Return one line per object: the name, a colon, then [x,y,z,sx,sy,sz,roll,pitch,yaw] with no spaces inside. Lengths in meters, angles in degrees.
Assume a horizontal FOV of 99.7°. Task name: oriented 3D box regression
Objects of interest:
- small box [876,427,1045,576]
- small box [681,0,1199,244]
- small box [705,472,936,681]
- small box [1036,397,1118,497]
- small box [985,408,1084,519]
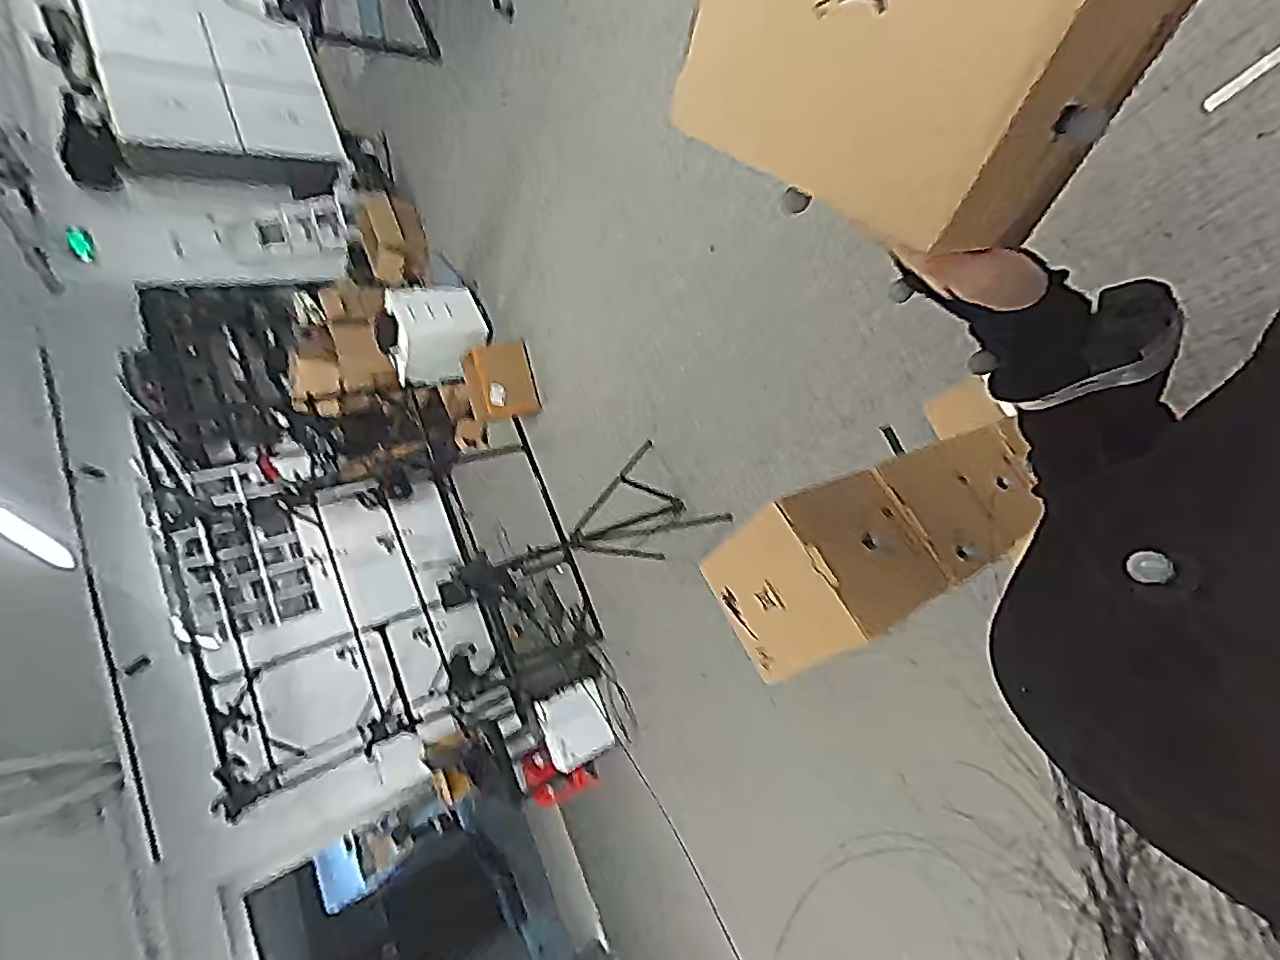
small box: [0.478,0.037,0.833,0.168,0.176,0.179,63,144,17]
small box: [0.157,-0.242,0.273,0.179,0.176,0.168,45,136,25]
small box: [0.217,0.110,0.647,0.168,0.176,0.179,61,143,20]
small box: [0.737,-0.038,1.016,0.179,0.176,0.168,-41,70,53]
small box: [0.609,-0.006,0.923,0.179,0.176,0.168,-44,66,54]
